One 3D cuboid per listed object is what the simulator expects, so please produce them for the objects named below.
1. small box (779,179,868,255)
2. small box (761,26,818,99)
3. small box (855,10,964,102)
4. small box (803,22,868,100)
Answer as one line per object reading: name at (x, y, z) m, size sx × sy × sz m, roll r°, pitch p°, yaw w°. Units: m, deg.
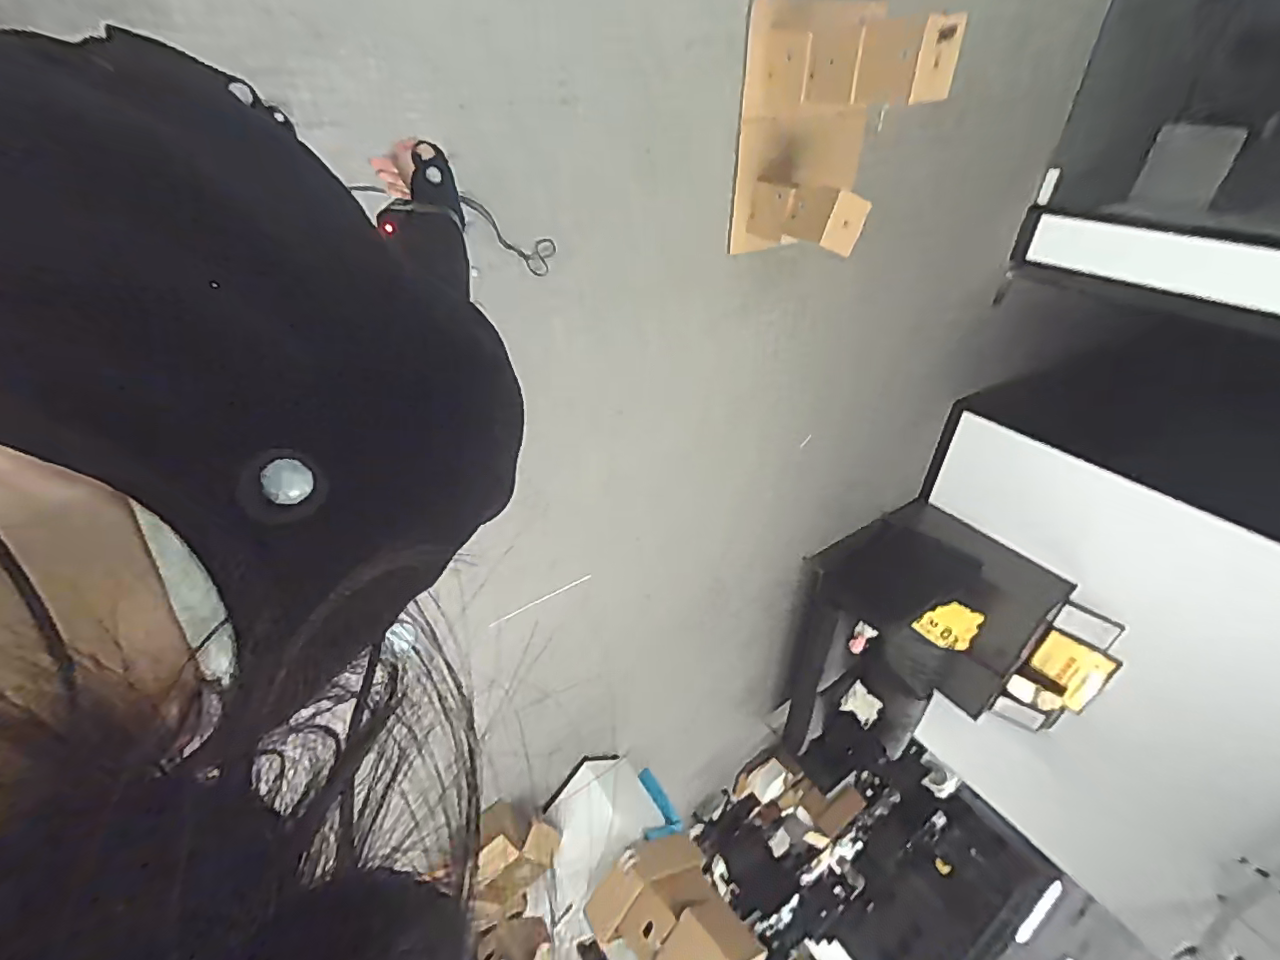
small box at (0.584, -0.845, 1.733) m, size 0.179 × 0.176 × 0.168 m, roll -3°, pitch 123°, yaw -39°
small box at (0.480, -1.233, 1.601) m, size 0.179 × 0.176 × 0.168 m, roll -25°, pitch 134°, yaw -26°
small box at (0.680, -1.084, 1.386) m, size 0.168 × 0.176 × 0.179 m, roll -25°, pitch 134°, yaw -25°
small box at (0.578, -1.155, 1.494) m, size 0.179 × 0.176 × 0.168 m, roll -24°, pitch 134°, yaw -26°
